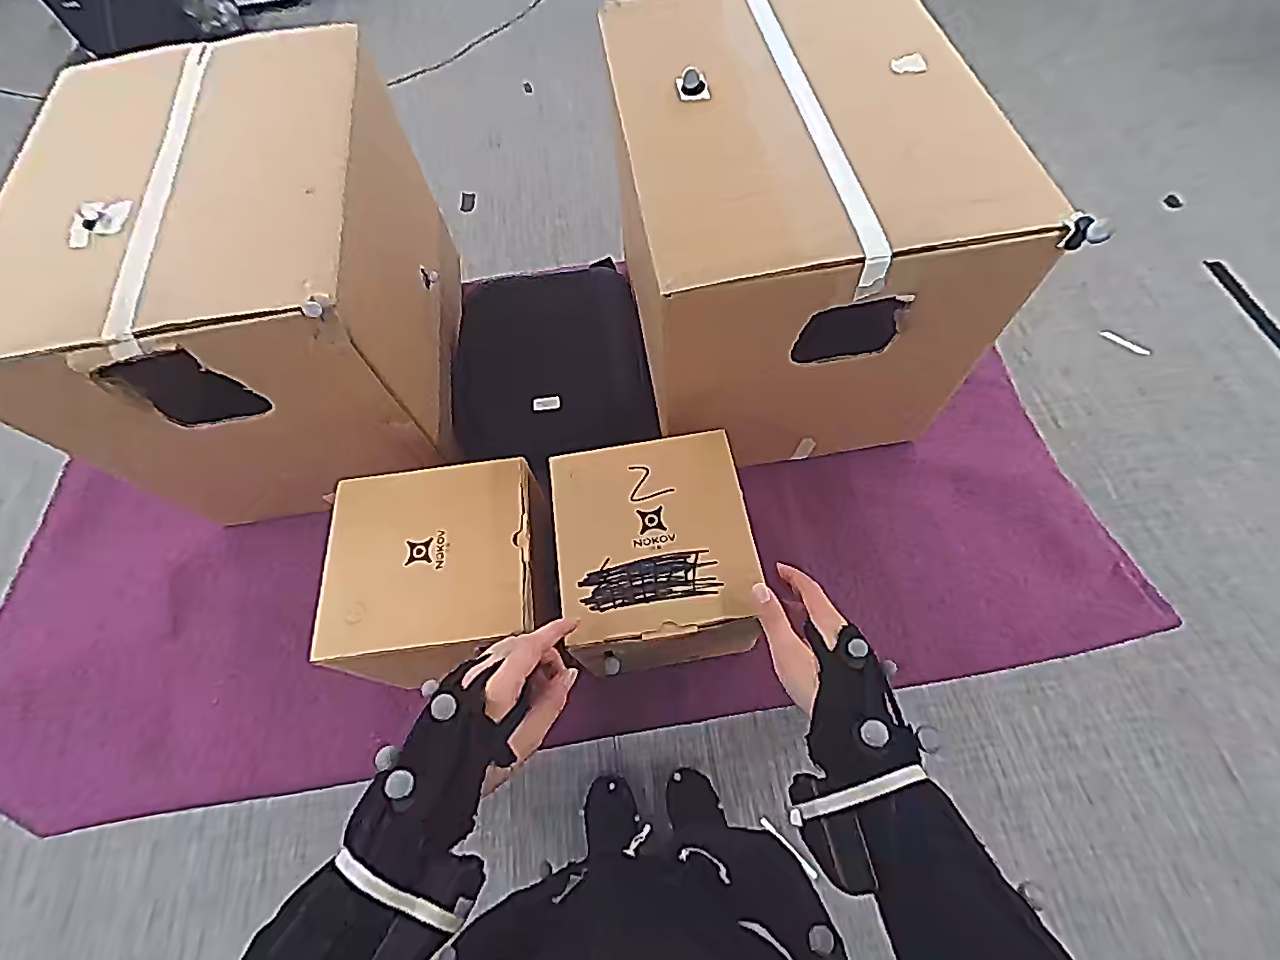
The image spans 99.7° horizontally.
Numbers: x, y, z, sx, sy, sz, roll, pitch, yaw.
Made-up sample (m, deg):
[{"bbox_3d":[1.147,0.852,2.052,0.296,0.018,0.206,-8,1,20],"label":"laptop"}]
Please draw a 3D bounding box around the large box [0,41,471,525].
[{"bbox_3d":[-0.405,-0.206,0.628,0.320,0.320,0.408,-11,66,-1],"label":"large box"}]
